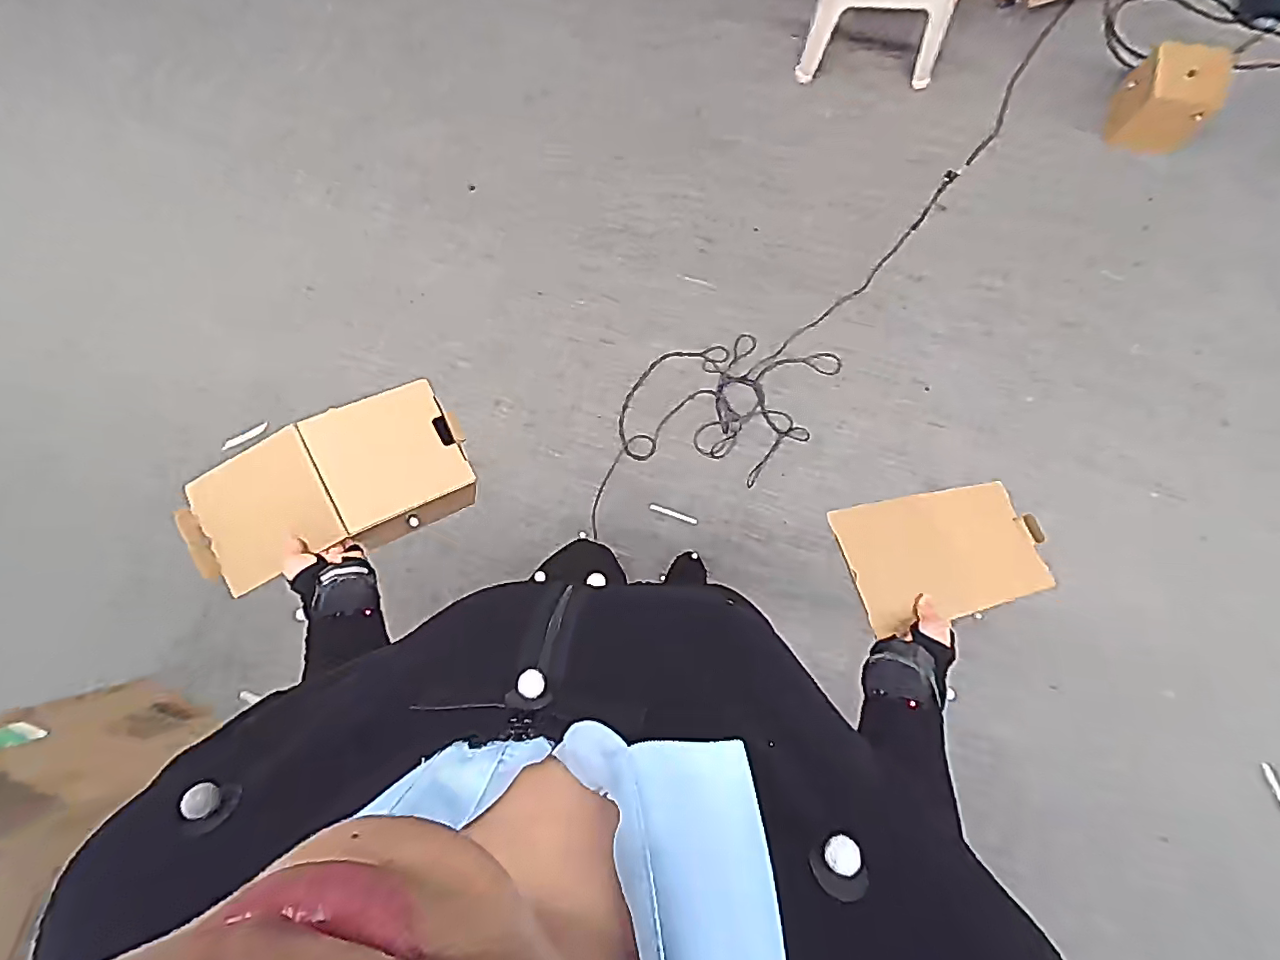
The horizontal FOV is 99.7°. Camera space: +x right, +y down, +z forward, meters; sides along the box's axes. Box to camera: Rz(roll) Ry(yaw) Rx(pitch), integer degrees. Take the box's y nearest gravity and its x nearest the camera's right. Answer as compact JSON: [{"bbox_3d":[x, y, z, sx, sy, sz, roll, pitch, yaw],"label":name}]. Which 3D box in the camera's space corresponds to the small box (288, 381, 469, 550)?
[{"bbox_3d":[-0.362,-0.012,0.783,0.179,0.176,0.168,-26,85,-22],"label":"small box"}]
